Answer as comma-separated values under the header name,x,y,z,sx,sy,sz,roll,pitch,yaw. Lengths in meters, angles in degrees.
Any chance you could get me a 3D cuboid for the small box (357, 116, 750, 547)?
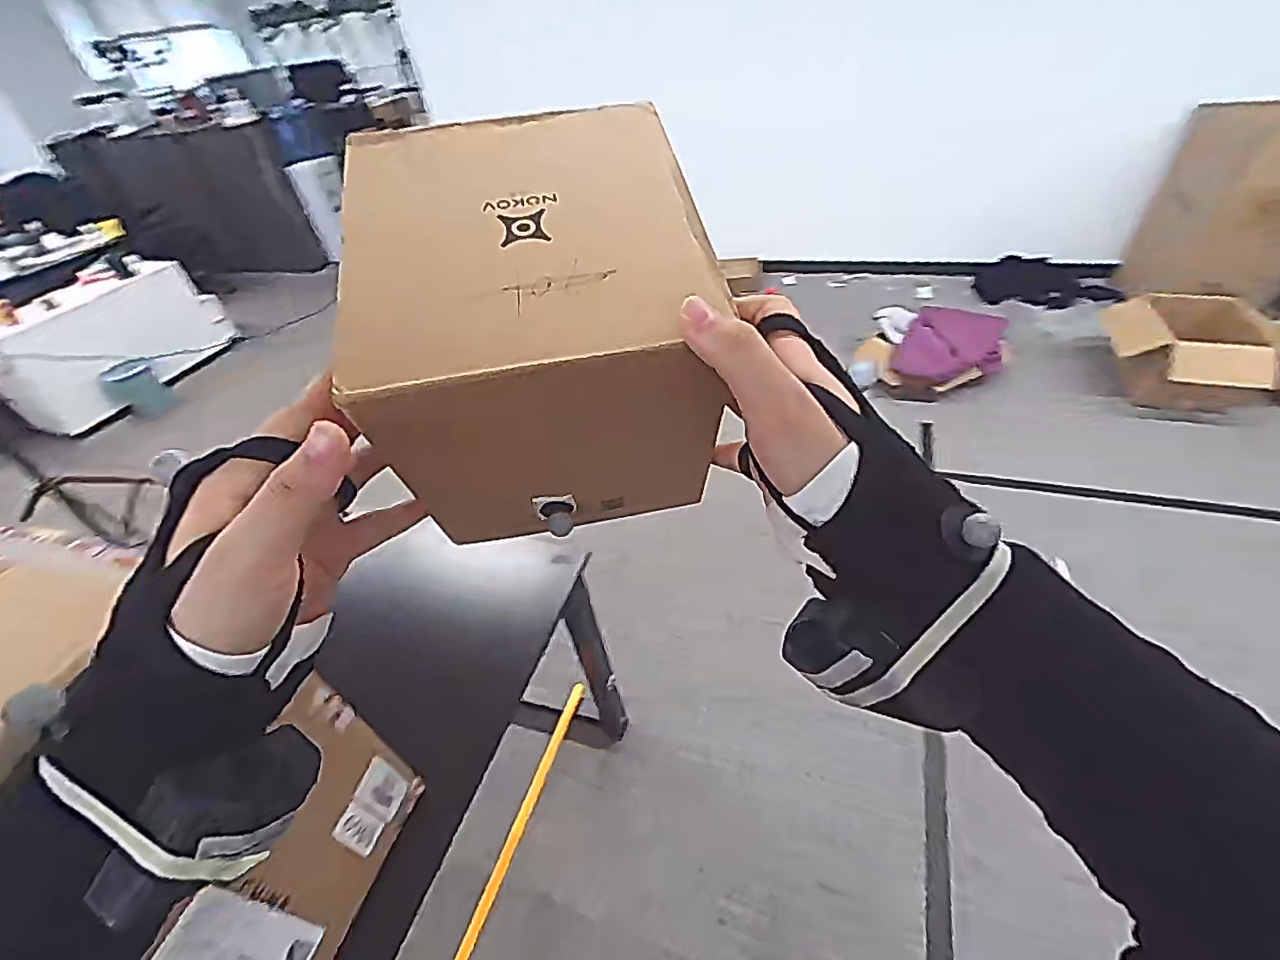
name,x,y,z,sx,sy,sz,roll,pitch,yaw
small box,-0.049,-0.079,0.331,0.168,0.176,0.179,-11,64,-5
